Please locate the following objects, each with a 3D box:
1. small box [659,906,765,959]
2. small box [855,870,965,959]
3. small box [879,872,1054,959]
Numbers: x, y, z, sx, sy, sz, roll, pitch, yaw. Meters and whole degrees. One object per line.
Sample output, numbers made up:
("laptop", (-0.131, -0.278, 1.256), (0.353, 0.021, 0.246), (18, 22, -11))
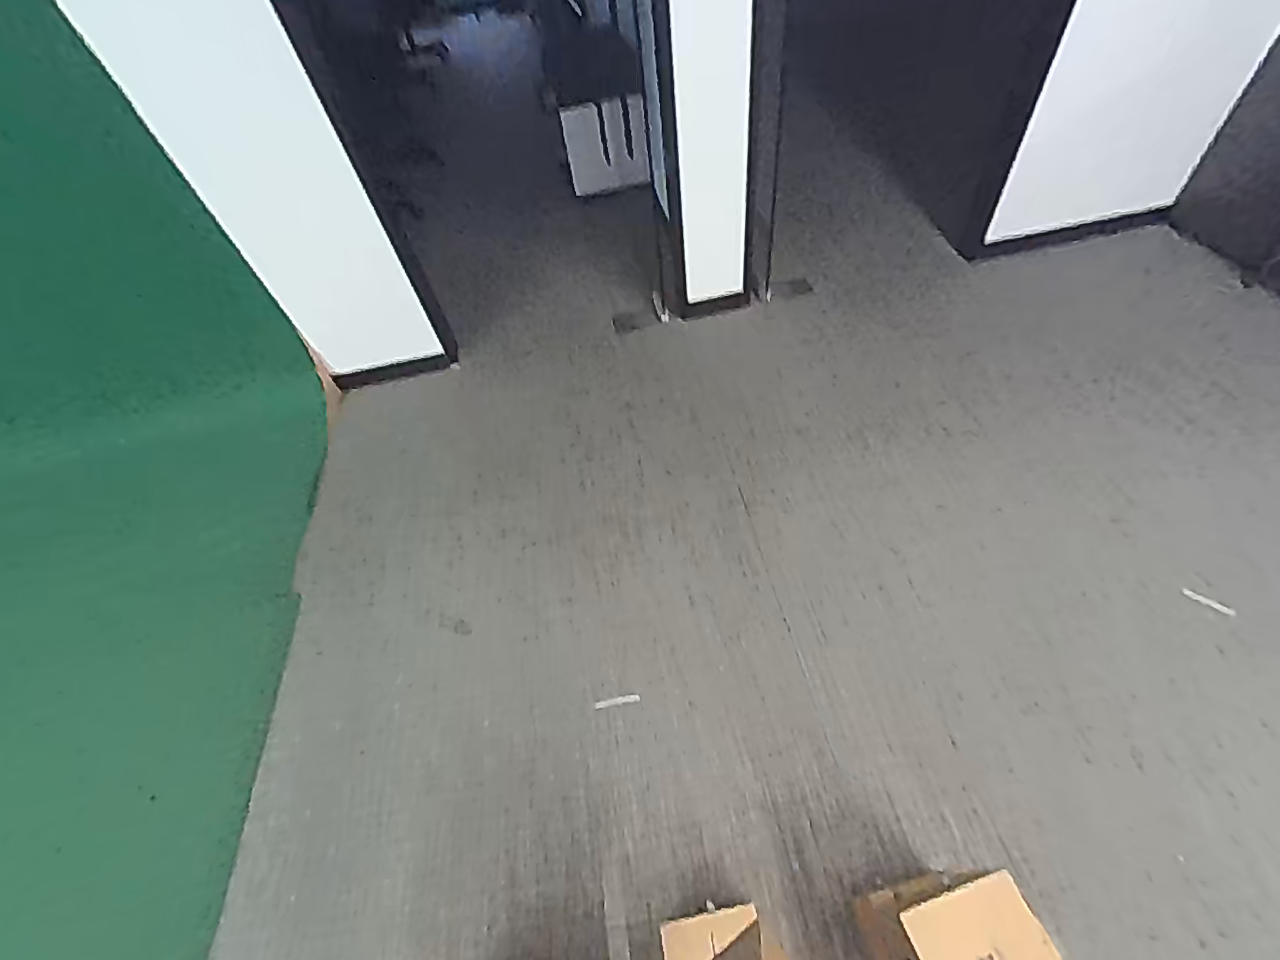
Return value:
("small box", (0.135, 0.849, 0.919), (0.168, 0.176, 0.179), (-12, 50, -1))
("small box", (0.484, 0.786, 0.916), (0.179, 0.176, 0.168), (-14, 52, -3))
("small box", (0.470, 0.696, 0.780), (0.179, 0.176, 0.168), (-18, 51, -6))
